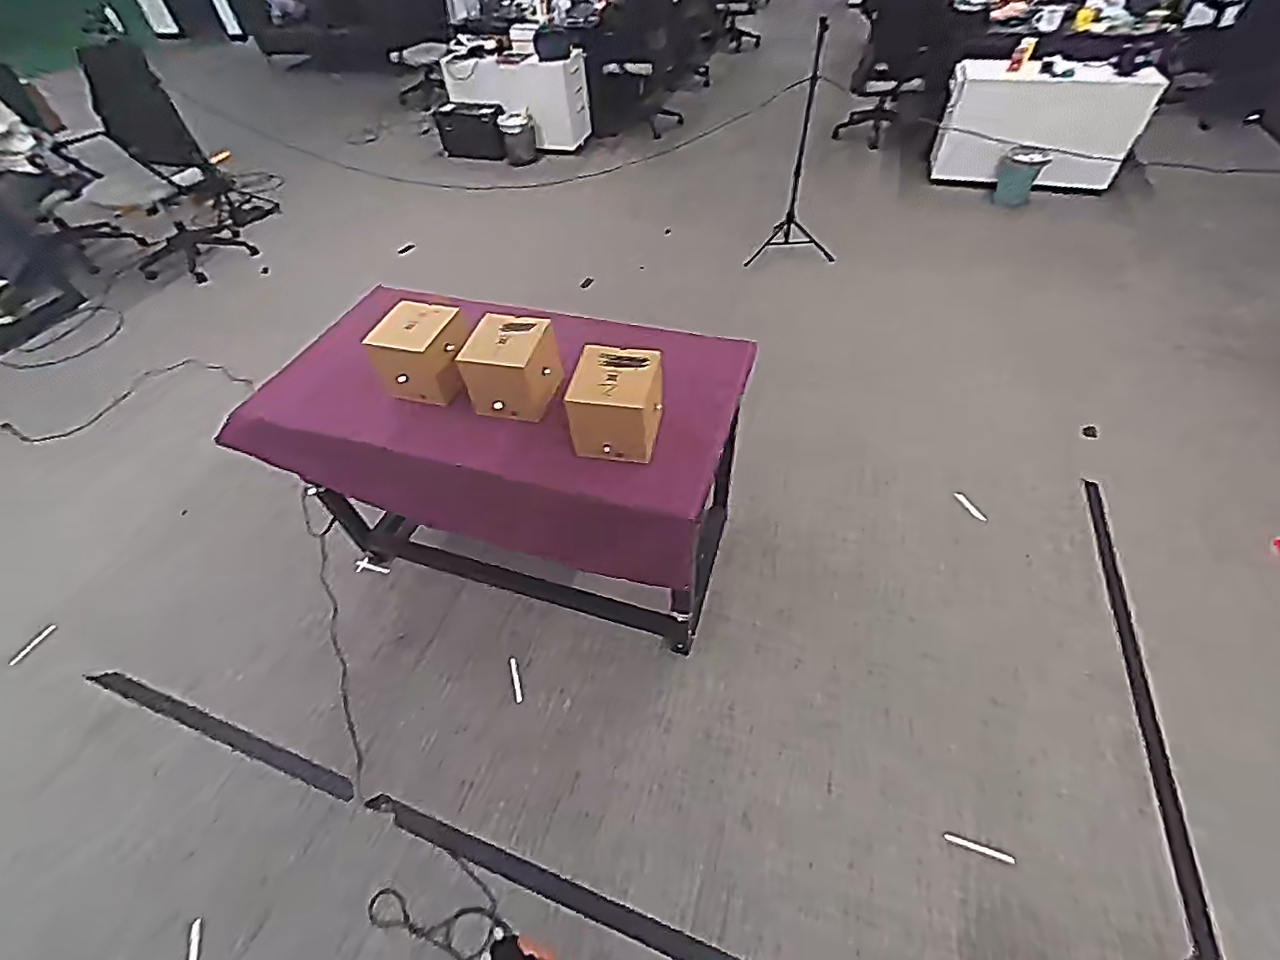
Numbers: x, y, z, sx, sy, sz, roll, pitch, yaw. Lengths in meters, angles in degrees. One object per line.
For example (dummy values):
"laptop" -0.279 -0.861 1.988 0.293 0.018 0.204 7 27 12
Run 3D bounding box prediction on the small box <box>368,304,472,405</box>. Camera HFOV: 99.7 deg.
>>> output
"small box" -0.525 -0.310 1.343 0.168 0.176 0.179 12 52 13

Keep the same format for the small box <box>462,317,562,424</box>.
"small box" -0.294 -0.262 1.289 0.168 0.176 0.179 9 52 11
